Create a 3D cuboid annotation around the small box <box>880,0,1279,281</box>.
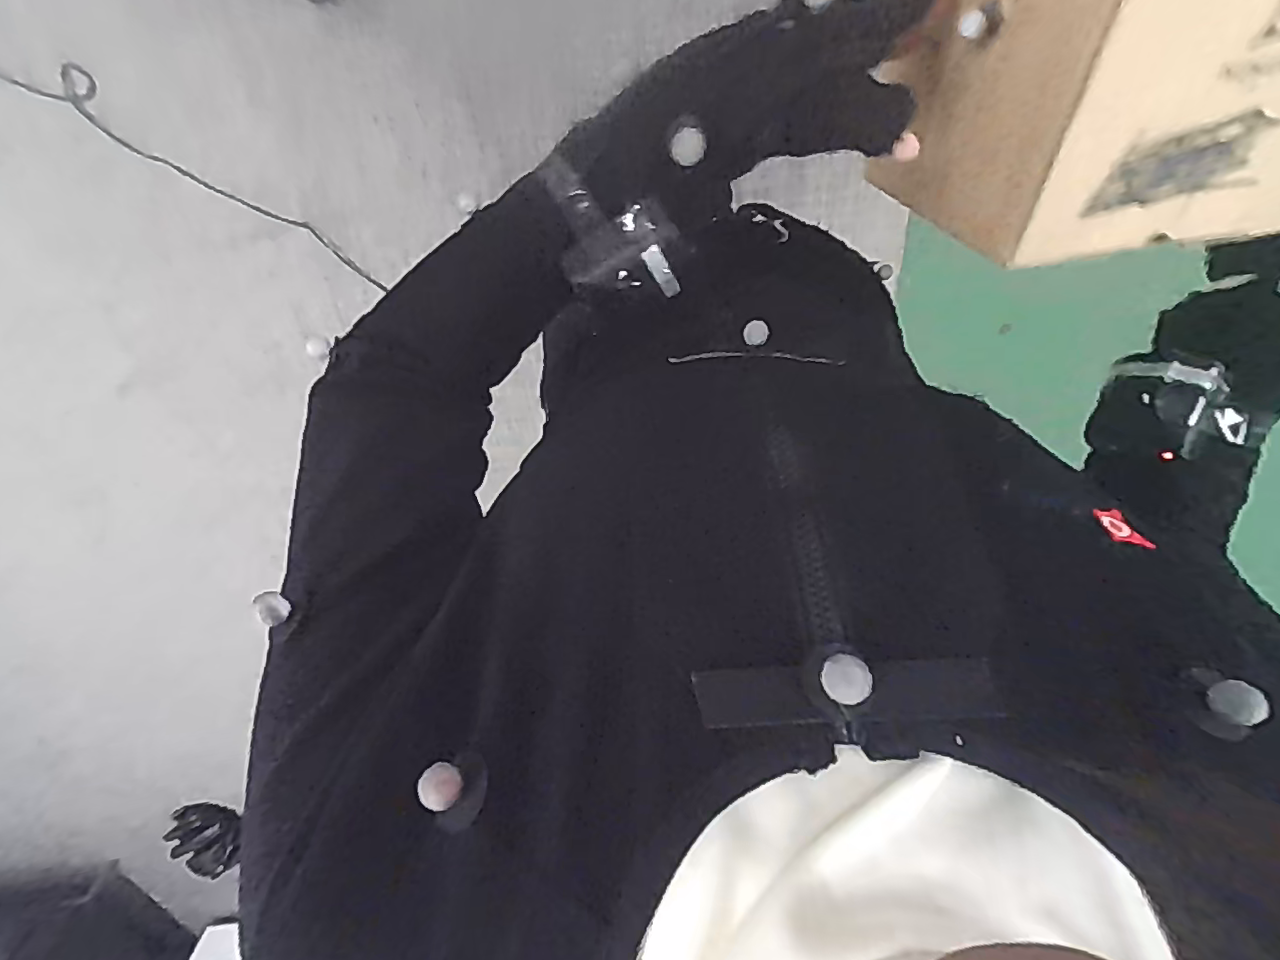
[{"bbox_3d":[0.258,-0.234,0.296,0.168,0.176,0.179,-8,133,-4],"label":"small box"}]
